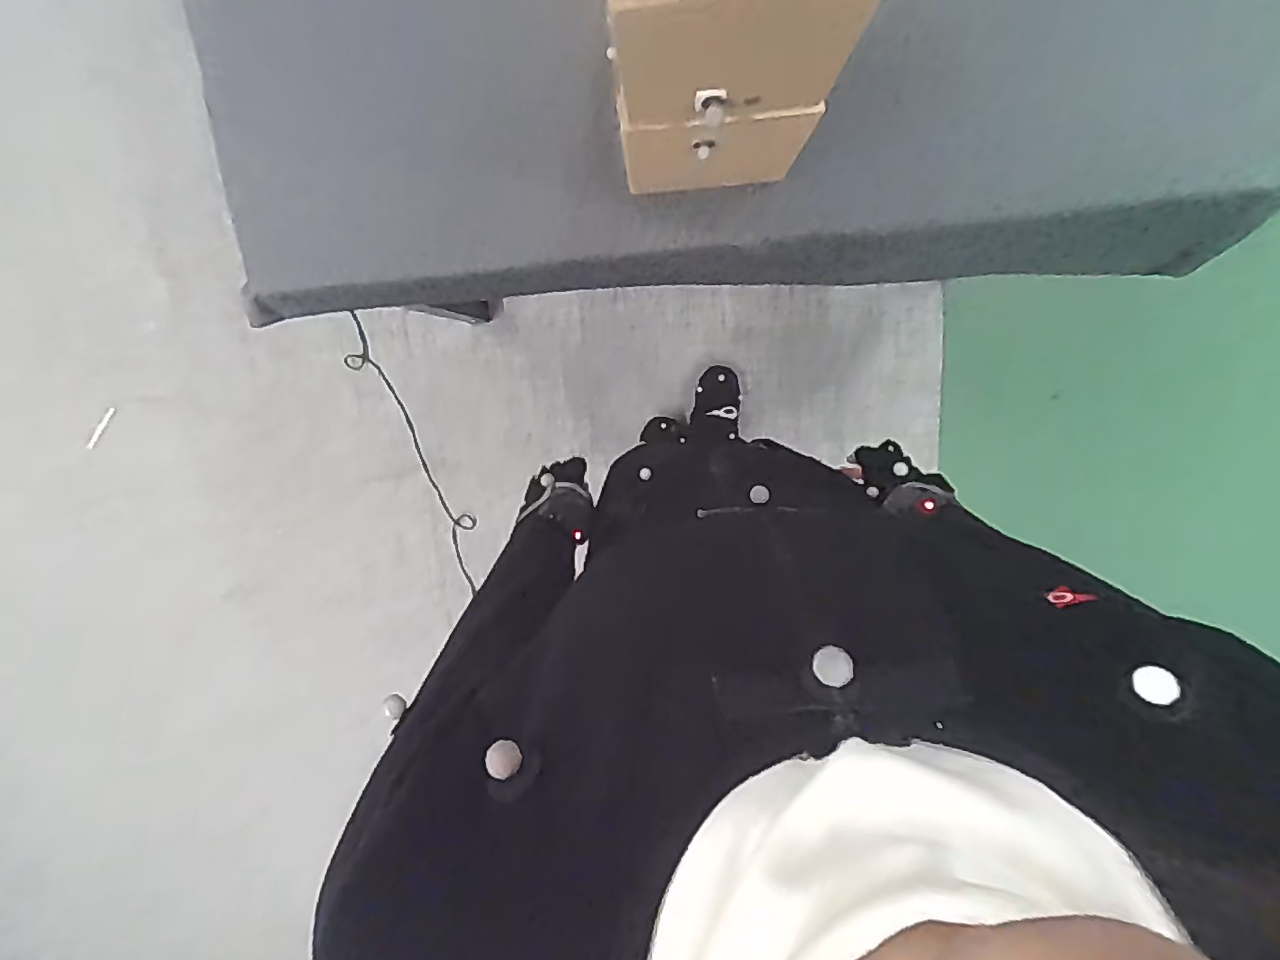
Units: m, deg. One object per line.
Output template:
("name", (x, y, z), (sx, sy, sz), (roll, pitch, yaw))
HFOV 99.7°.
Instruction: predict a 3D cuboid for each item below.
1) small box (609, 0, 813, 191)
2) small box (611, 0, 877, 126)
("small box", (0.065, -0.409, 0.546), (0.179, 0.176, 0.168), (-4, 102, 2))
("small box", (0.059, -0.381, 0.370), (0.168, 0.176, 0.179), (-5, 102, 5))
